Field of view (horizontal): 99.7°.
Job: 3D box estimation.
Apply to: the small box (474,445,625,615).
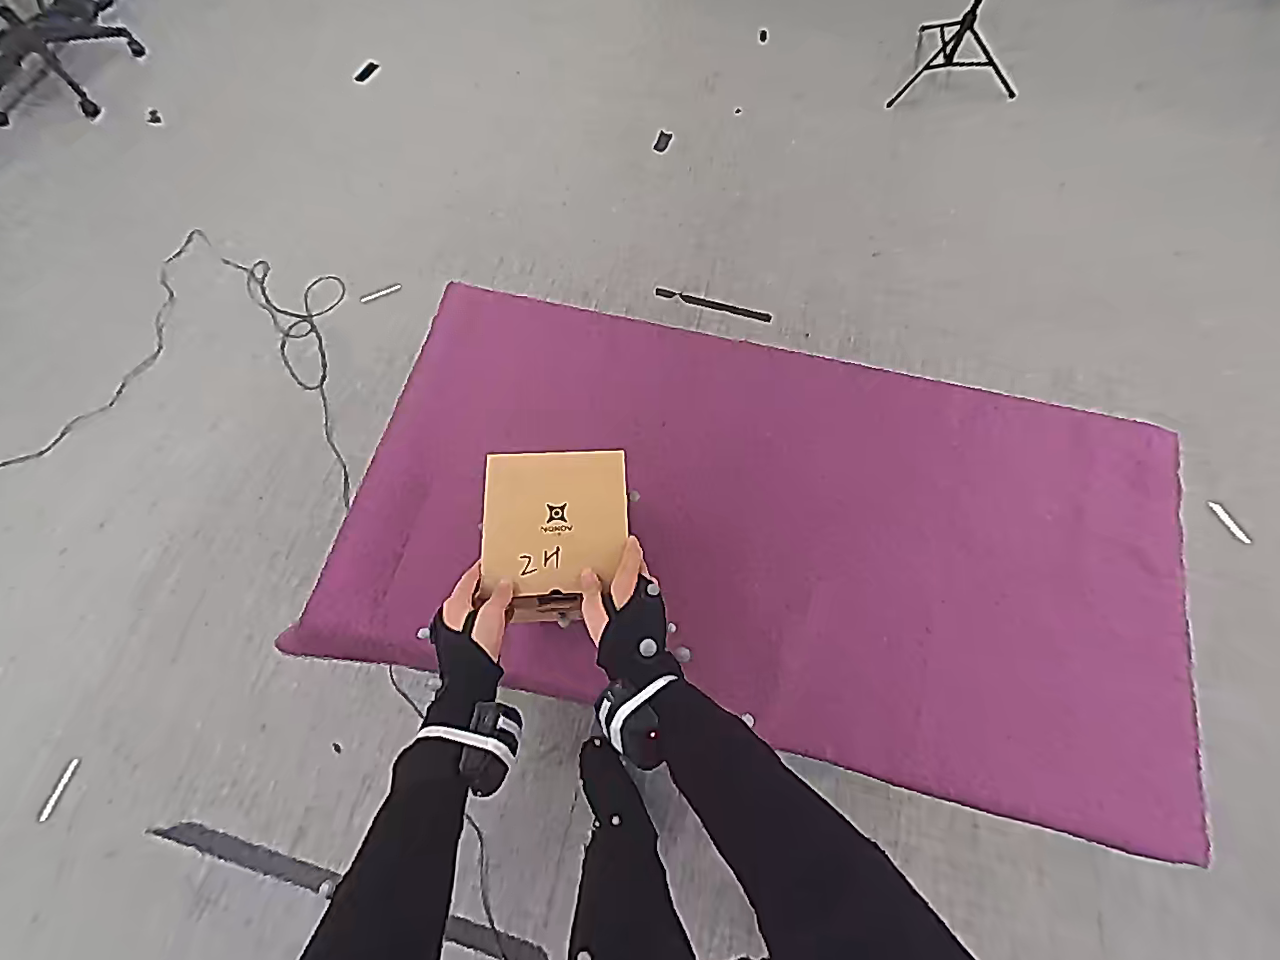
[{"bbox_3d":[-0.105,0.070,0.694,0.168,0.176,0.179,-1,67,-2],"label":"small box"}]
